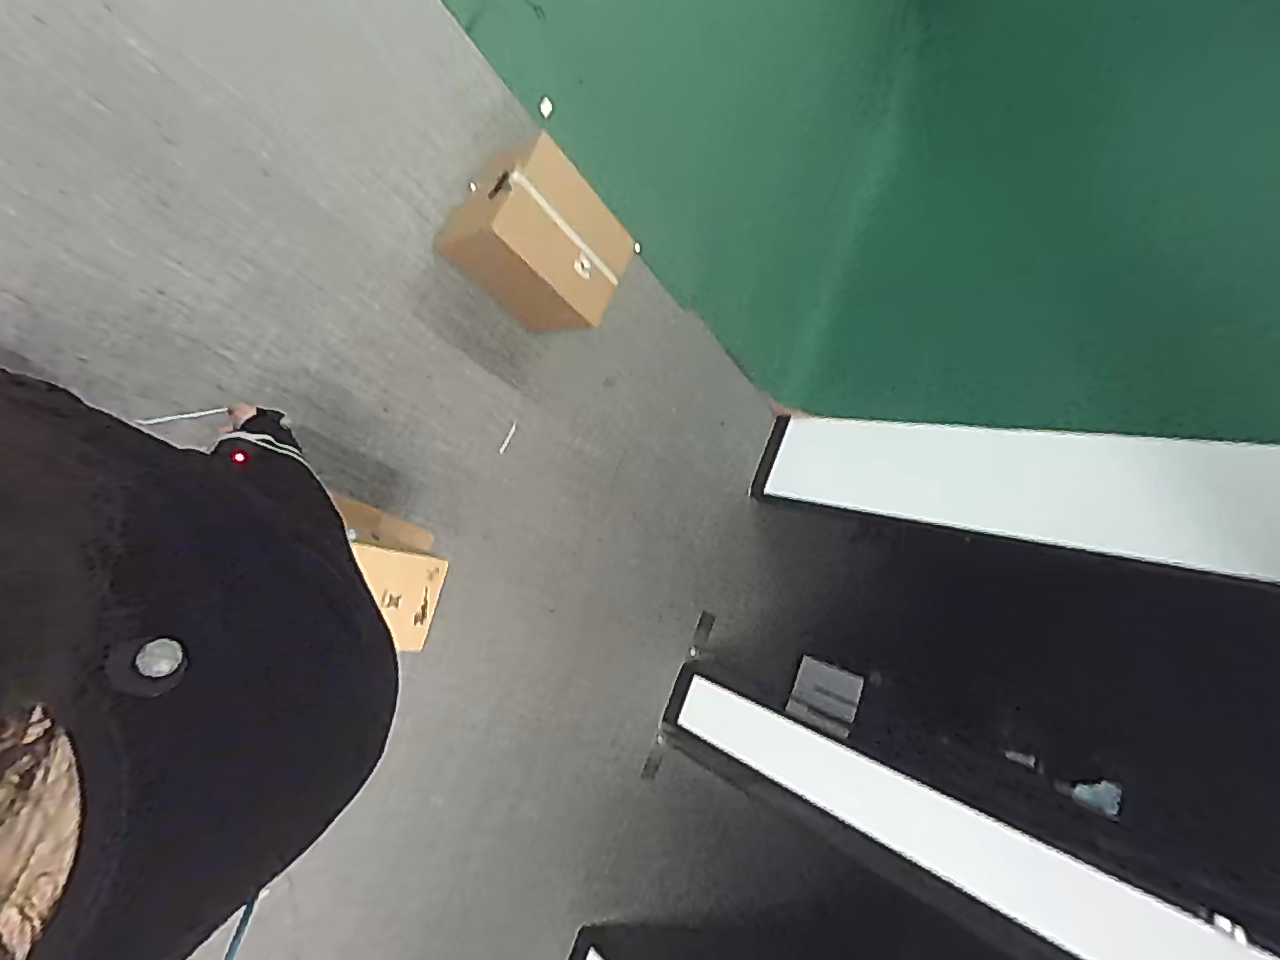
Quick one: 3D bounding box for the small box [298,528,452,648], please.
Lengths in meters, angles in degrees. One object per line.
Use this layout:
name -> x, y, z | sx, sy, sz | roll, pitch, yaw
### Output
small box -> -0.475, 0.188, 0.962 | 0.179, 0.176, 0.168 | 23, 79, -45

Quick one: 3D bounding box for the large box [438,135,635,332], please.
large box -> -0.292, -0.681, 1.569 | 0.408, 0.320, 0.320 | 36, 72, -45
